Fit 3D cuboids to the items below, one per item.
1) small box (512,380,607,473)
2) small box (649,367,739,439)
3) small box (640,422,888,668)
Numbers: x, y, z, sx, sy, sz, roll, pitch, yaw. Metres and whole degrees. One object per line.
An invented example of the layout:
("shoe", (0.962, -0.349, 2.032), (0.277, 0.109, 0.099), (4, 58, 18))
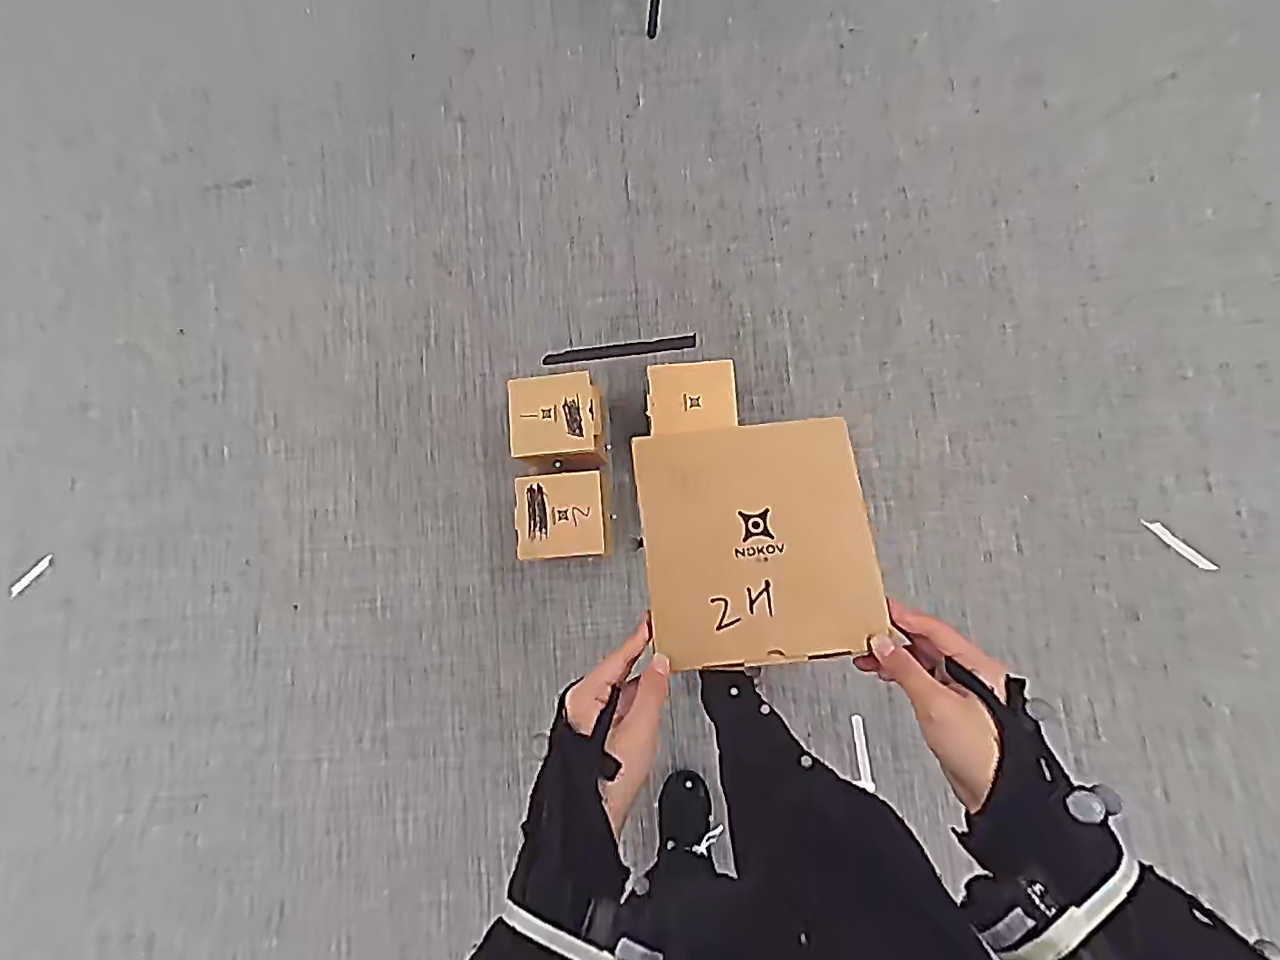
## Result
("small box", (-0.169, -0.112, 1.183), (0.179, 0.176, 0.168), (-5, 83, 5))
("small box", (0.114, -0.134, 1.163), (0.179, 0.176, 0.168), (-4, 83, 5))
("small box", (0.089, 0.066, 0.479), (0.168, 0.176, 0.179), (-6, 74, 1))
